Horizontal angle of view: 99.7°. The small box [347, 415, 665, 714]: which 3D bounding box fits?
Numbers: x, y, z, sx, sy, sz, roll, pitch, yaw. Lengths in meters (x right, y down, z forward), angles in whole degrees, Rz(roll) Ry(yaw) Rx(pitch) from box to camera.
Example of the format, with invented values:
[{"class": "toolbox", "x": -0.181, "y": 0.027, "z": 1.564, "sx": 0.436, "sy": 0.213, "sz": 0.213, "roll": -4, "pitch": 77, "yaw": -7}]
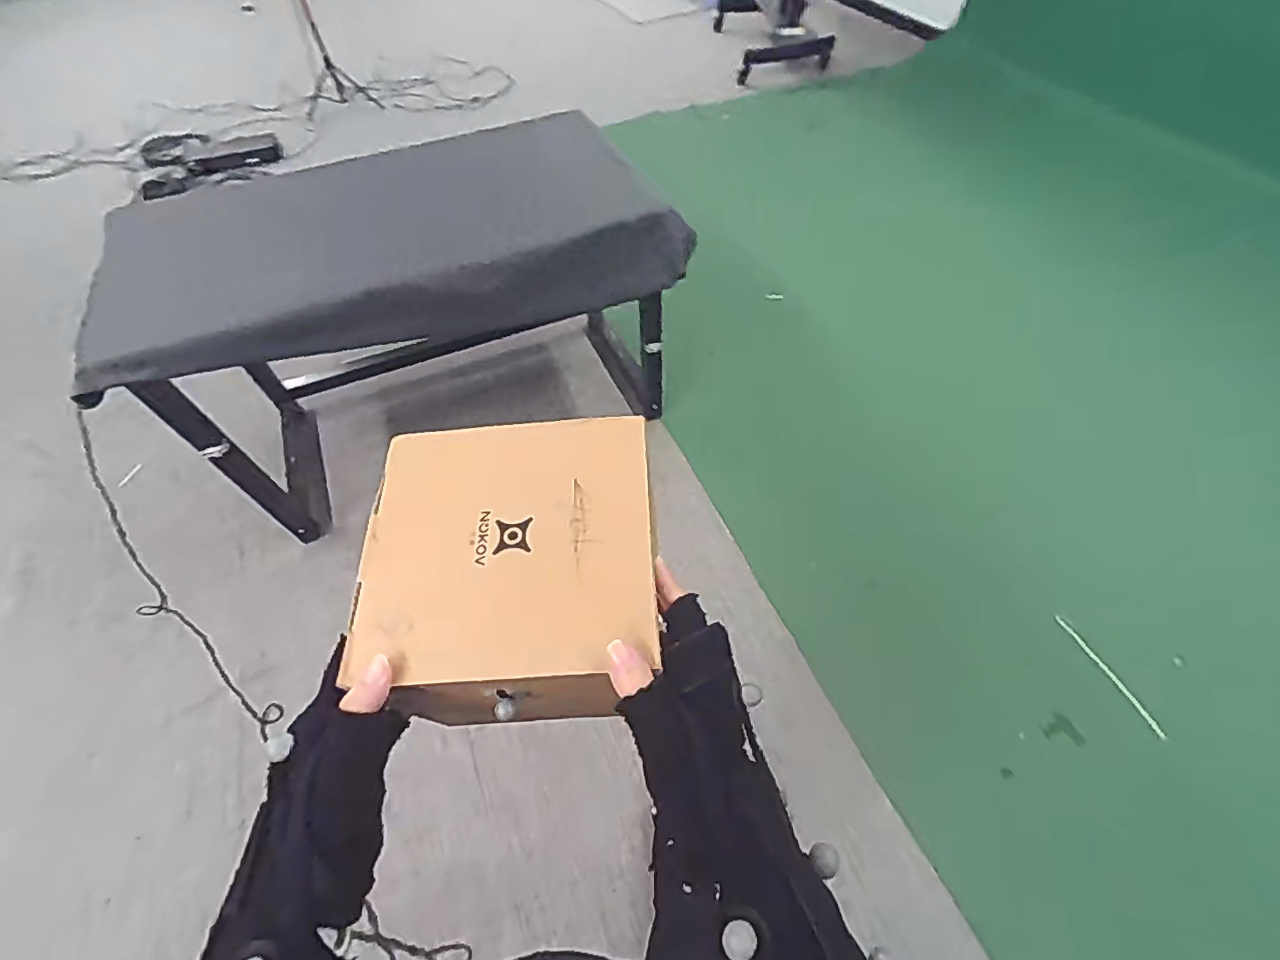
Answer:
[{"class": "small box", "x": -0.076, "y": 0.073, "z": 0.406, "sx": 0.179, "sy": 0.176, "sz": 0.168, "roll": -5, "pitch": 59, "yaw": 1}]
